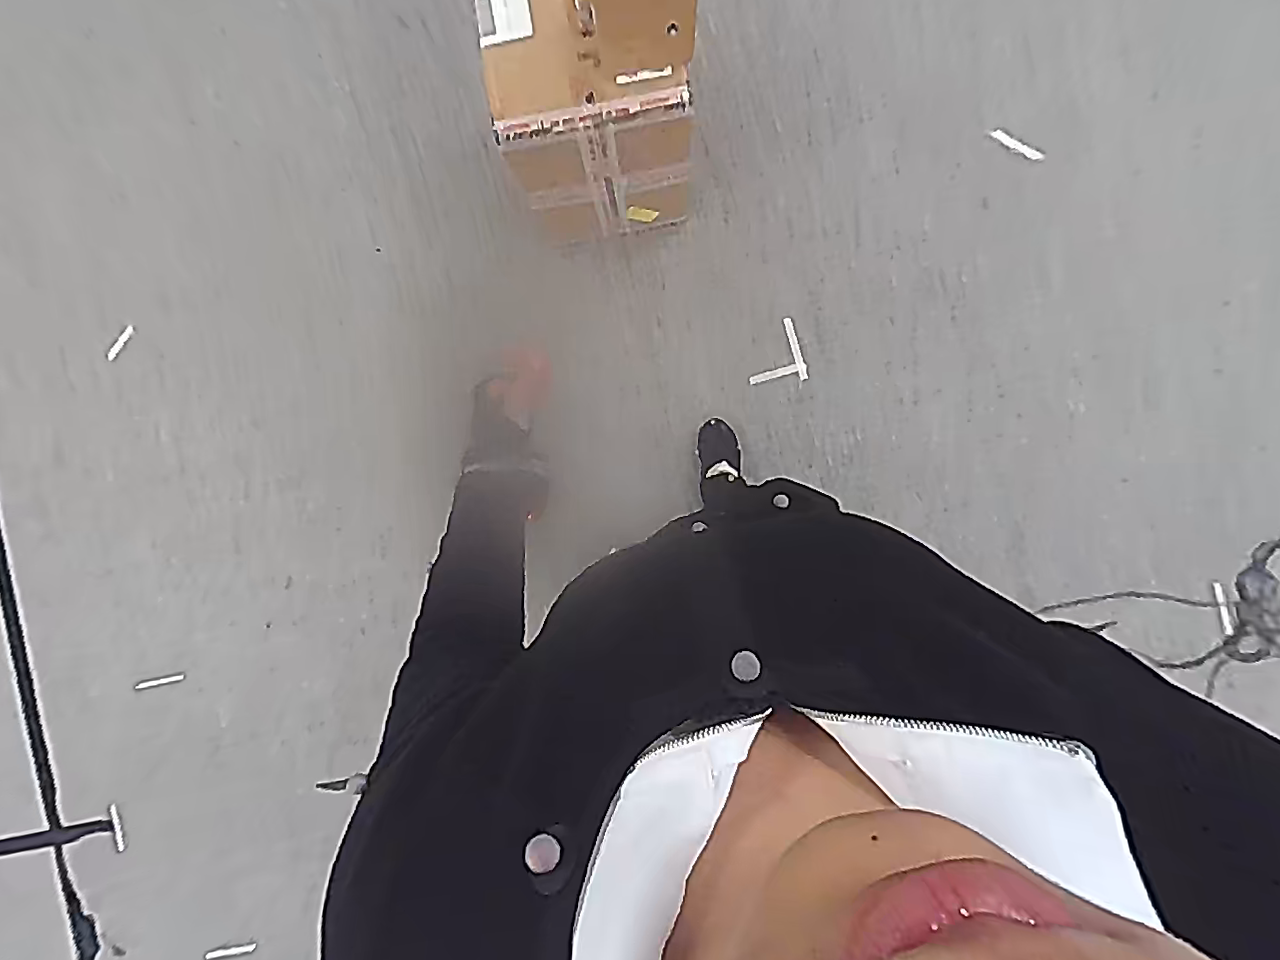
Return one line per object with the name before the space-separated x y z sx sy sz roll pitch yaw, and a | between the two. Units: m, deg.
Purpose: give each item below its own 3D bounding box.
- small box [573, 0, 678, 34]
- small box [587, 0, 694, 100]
small box | -0.031 -0.819 0.799 0.168 0.176 0.179 -7 91 1
small box | -0.008 -0.824 0.963 0.179 0.176 0.168 -10 90 2
